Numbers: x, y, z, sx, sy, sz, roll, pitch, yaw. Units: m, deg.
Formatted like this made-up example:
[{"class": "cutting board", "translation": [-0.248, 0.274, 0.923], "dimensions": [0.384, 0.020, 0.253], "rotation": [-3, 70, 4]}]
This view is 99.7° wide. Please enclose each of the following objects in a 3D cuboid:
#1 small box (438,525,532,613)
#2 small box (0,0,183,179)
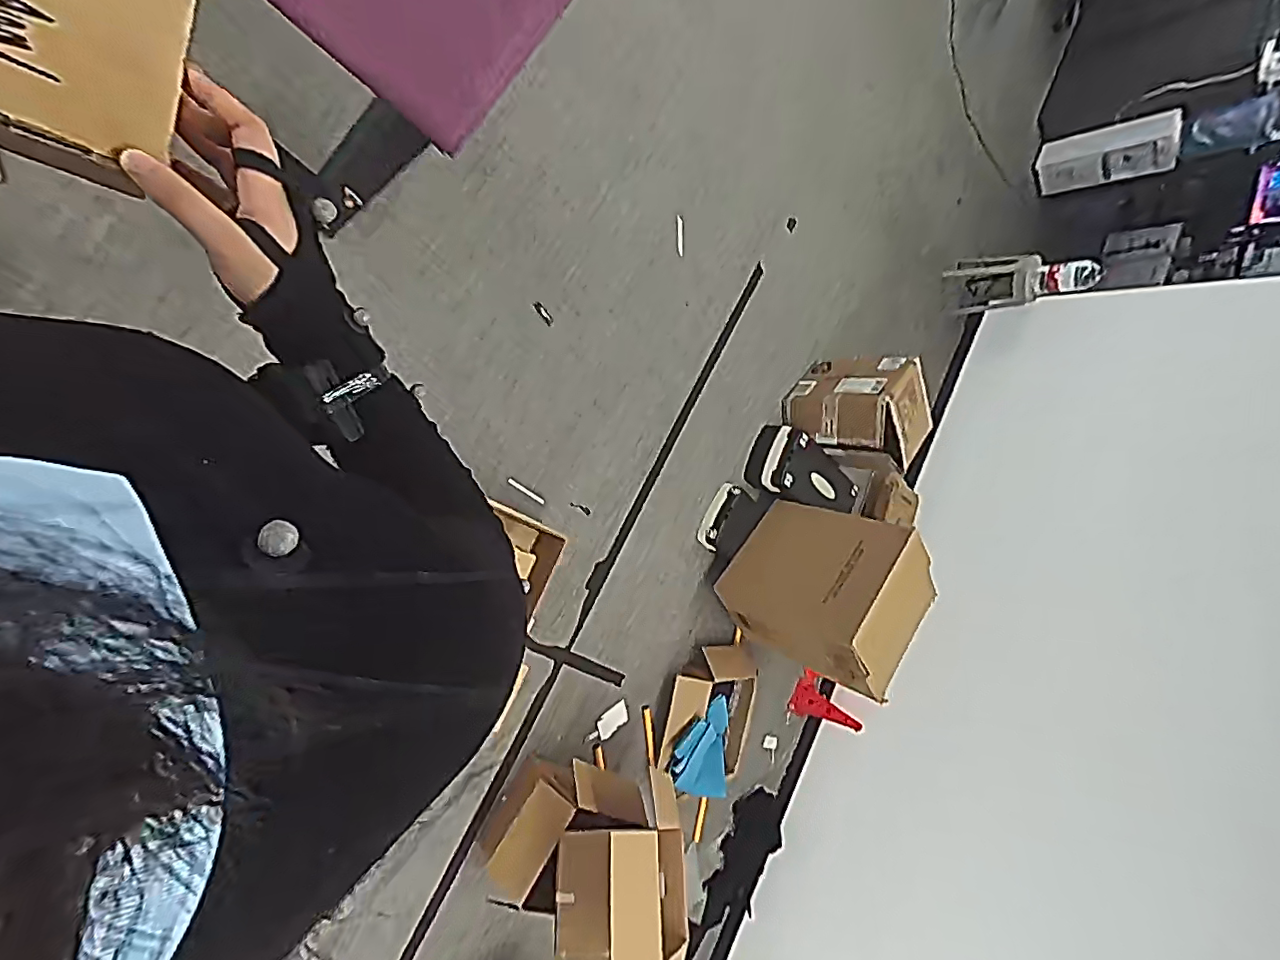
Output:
[{"class": "small box", "translation": [-0.442, 0.248, 1.519], "dimensions": [0.168, 0.176, 0.179], "rotation": [31, 80, -42]}, {"class": "small box", "translation": [-0.363, -0.291, 0.294], "dimensions": [0.168, 0.176, 0.179], "rotation": [9, 100, -48]}]
